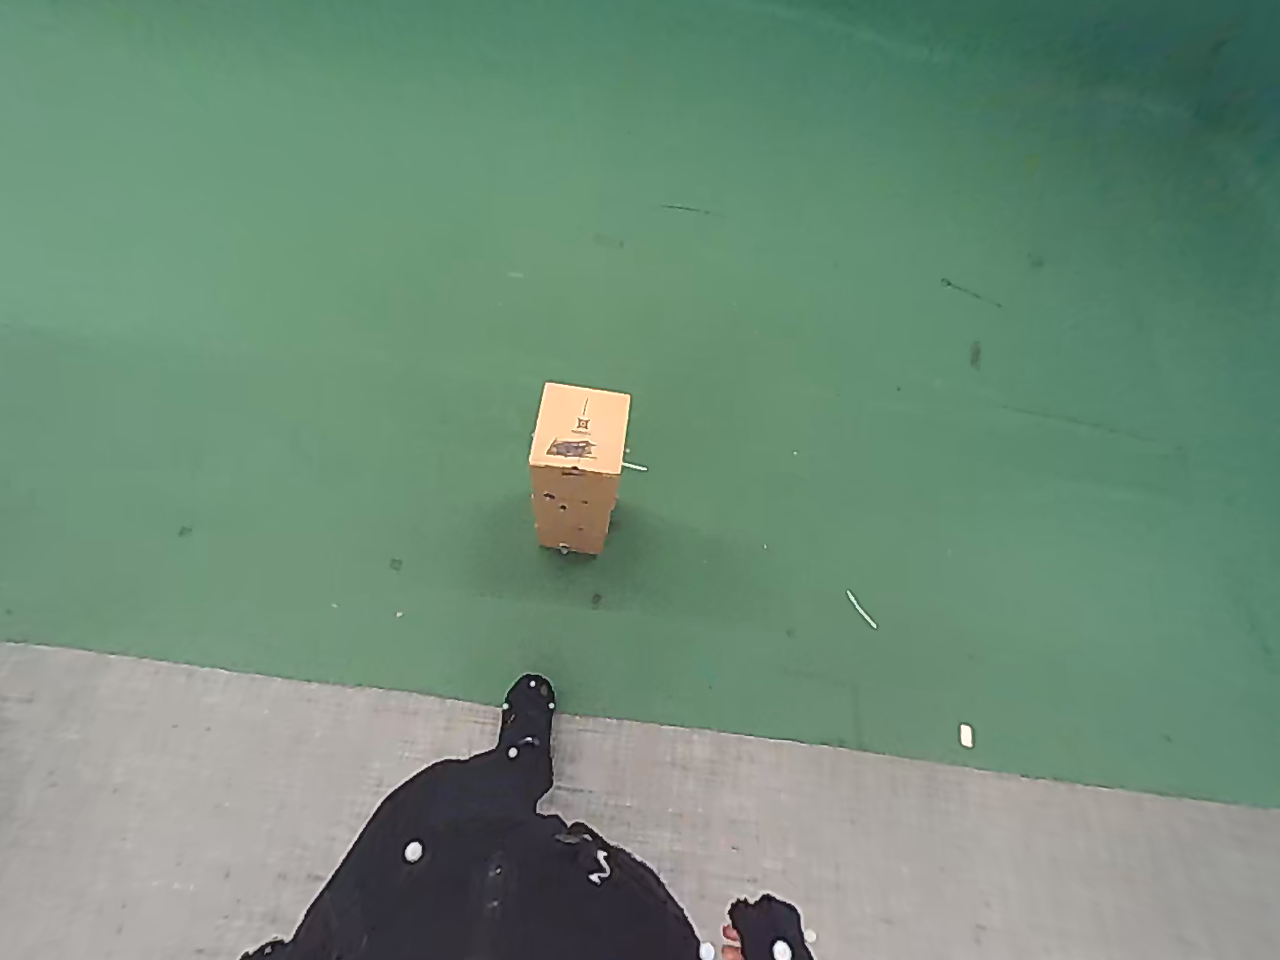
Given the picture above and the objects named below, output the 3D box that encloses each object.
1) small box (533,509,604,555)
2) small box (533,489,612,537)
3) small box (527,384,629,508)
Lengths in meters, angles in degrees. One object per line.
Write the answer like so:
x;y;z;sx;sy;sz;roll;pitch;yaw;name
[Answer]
-0.161;0.068;1.338;0.168;0.176;0.179;10;65;-1;small box
-0.139;0.009;1.208;0.168;0.176;0.179;10;64;-3;small box
-0.117;-0.059;1.059;0.168;0.176;0.179;8;65;-4;small box
